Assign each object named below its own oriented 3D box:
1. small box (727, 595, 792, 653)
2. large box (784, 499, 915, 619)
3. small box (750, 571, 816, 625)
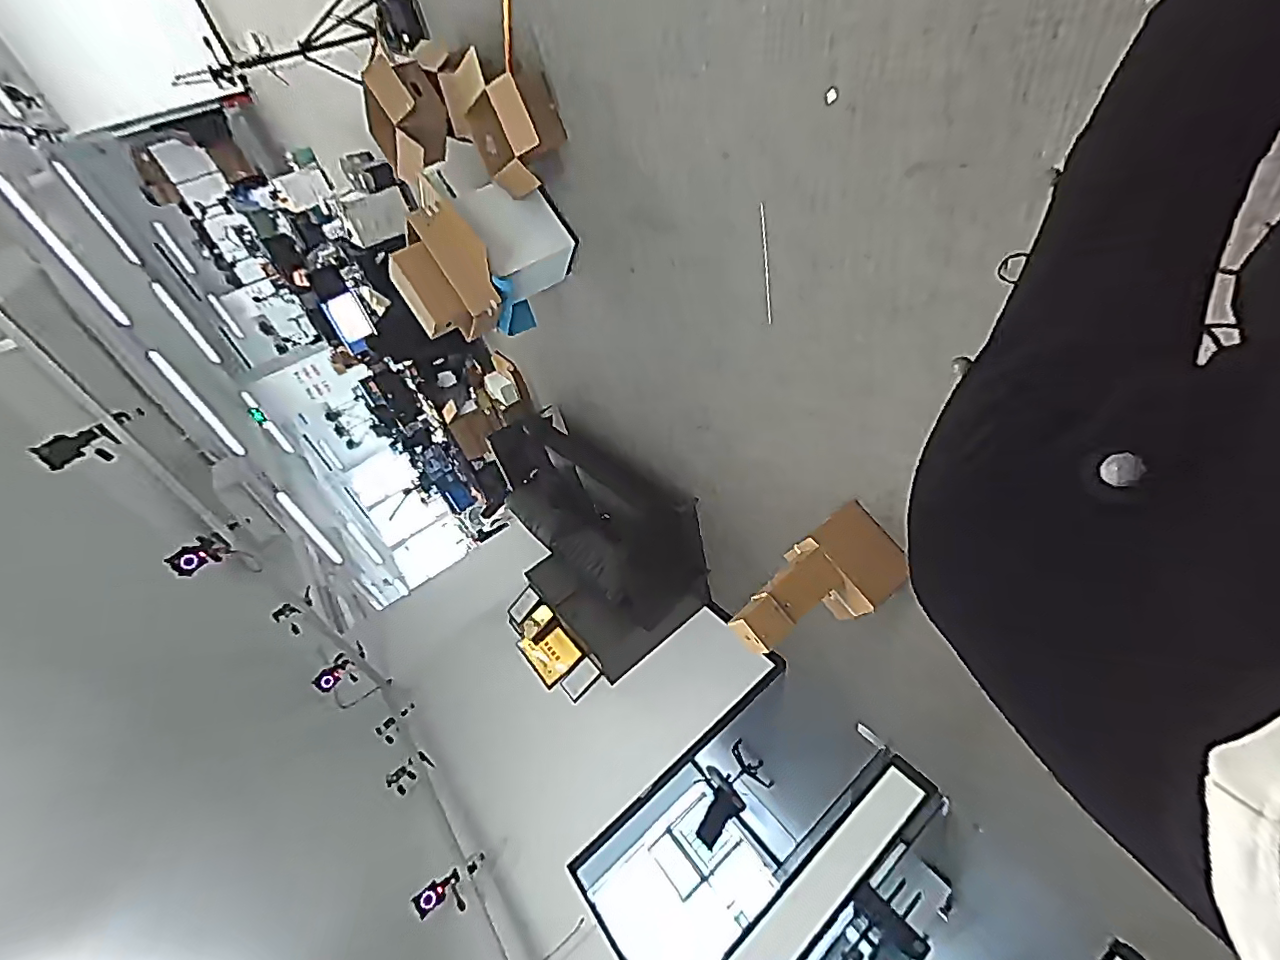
[{"bbox_3d":[0.498,0.599,2.248,0.168,0.176,0.179,50,158,8],"label":"small box"},{"bbox_3d":[0.960,0.367,2.507,0.408,0.320,0.320,49,159,13],"label":"large box"},{"bbox_3d":[0.615,0.511,2.323,0.179,0.176,0.168,50,158,9],"label":"small box"}]
